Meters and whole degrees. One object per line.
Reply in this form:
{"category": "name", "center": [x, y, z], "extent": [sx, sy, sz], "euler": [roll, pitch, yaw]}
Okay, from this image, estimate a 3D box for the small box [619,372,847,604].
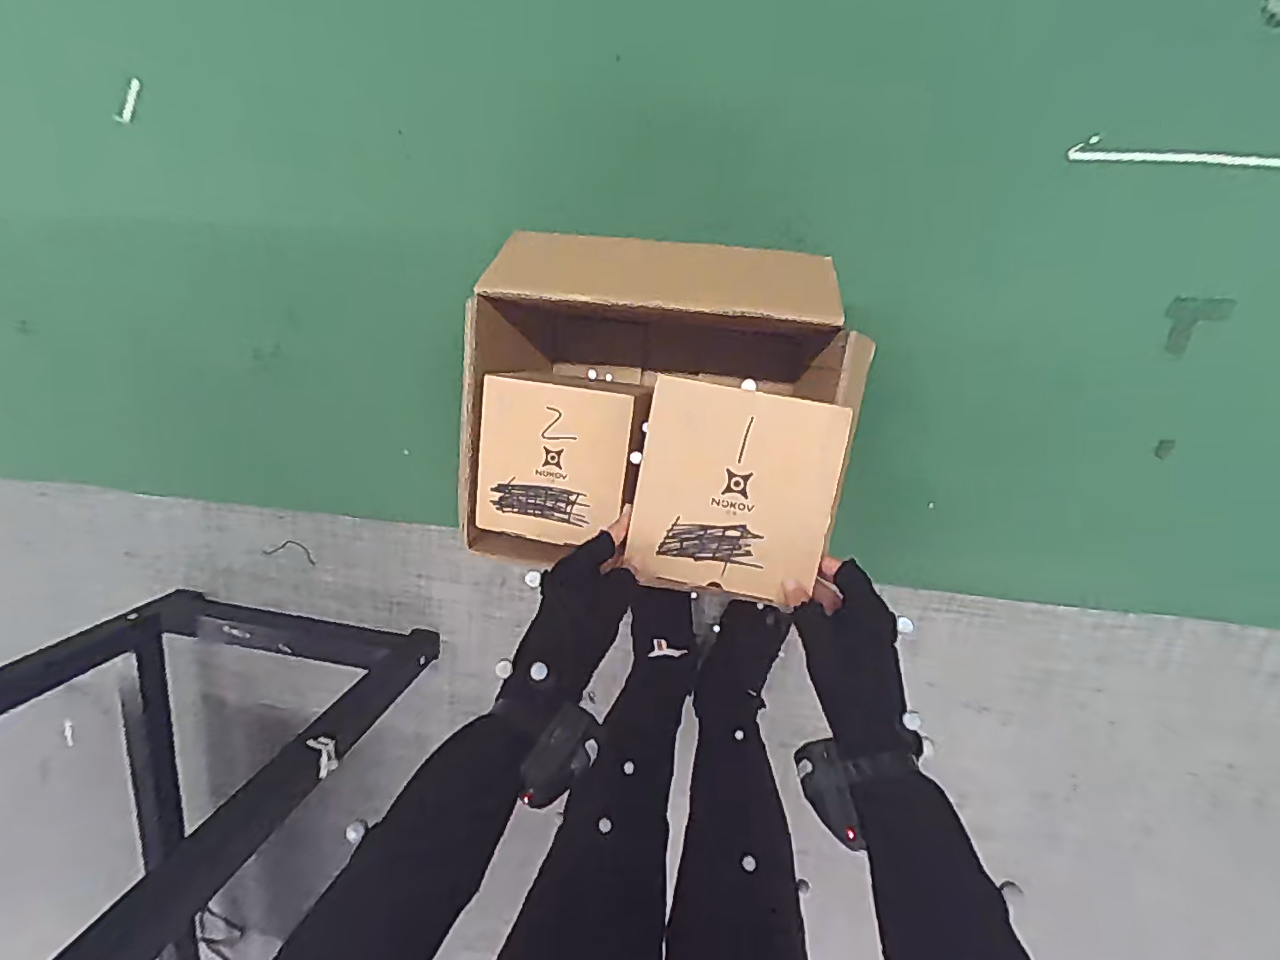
{"category": "small box", "center": [0.083, -0.001, 0.537], "extent": [0.168, 0.176, 0.179], "euler": [10, 97, 3]}
